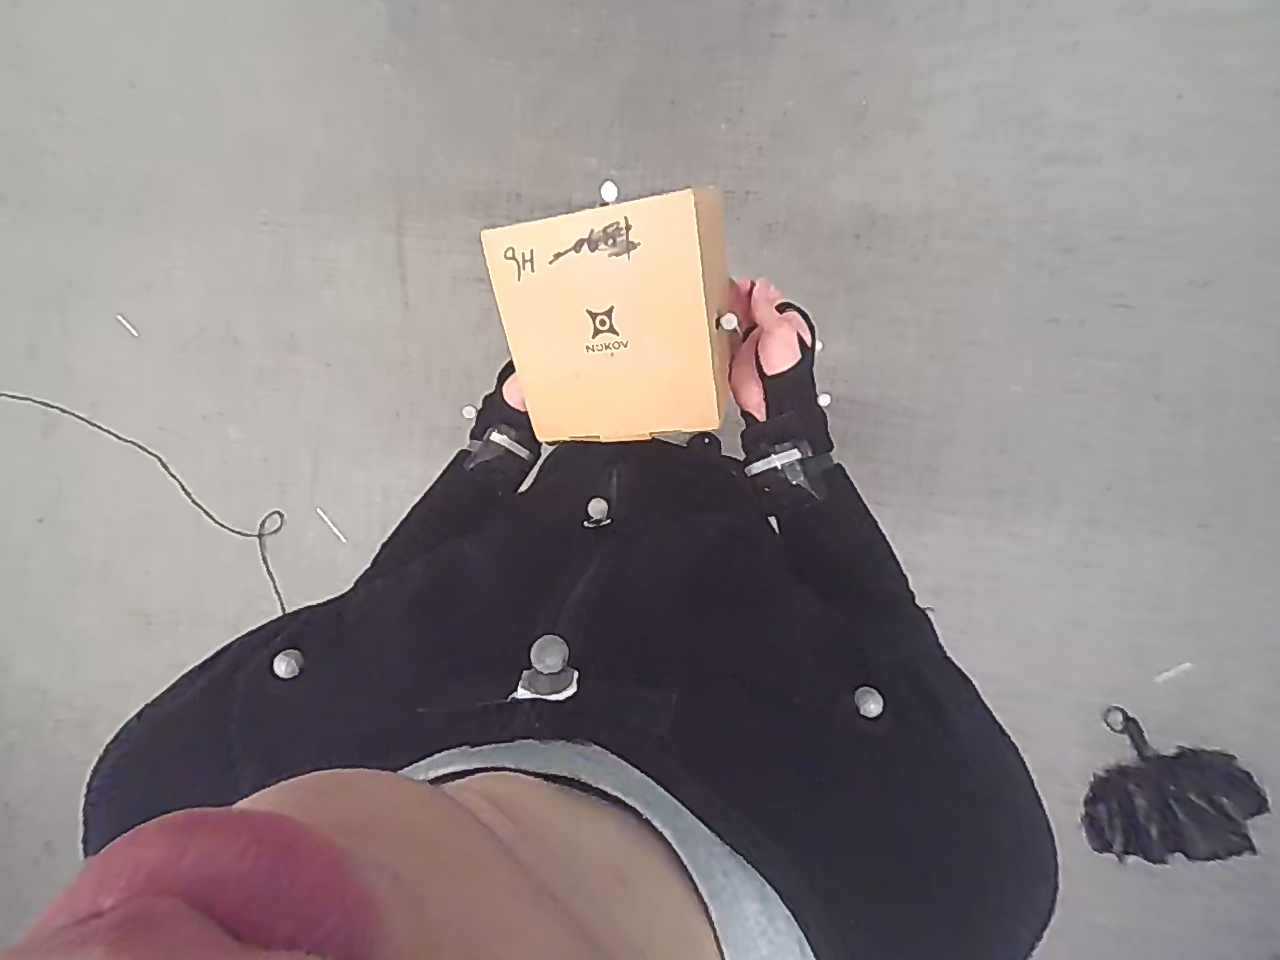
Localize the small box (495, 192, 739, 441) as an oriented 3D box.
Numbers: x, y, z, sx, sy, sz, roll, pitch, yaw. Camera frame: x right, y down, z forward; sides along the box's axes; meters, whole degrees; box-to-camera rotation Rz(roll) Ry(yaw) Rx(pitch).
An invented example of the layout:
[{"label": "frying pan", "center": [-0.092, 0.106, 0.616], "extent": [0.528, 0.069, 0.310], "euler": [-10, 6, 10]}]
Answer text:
[{"label": "small box", "center": [-0.002, -0.153, 0.500], "extent": [0.168, 0.176, 0.179], "euler": [-3, 118, 16]}]
